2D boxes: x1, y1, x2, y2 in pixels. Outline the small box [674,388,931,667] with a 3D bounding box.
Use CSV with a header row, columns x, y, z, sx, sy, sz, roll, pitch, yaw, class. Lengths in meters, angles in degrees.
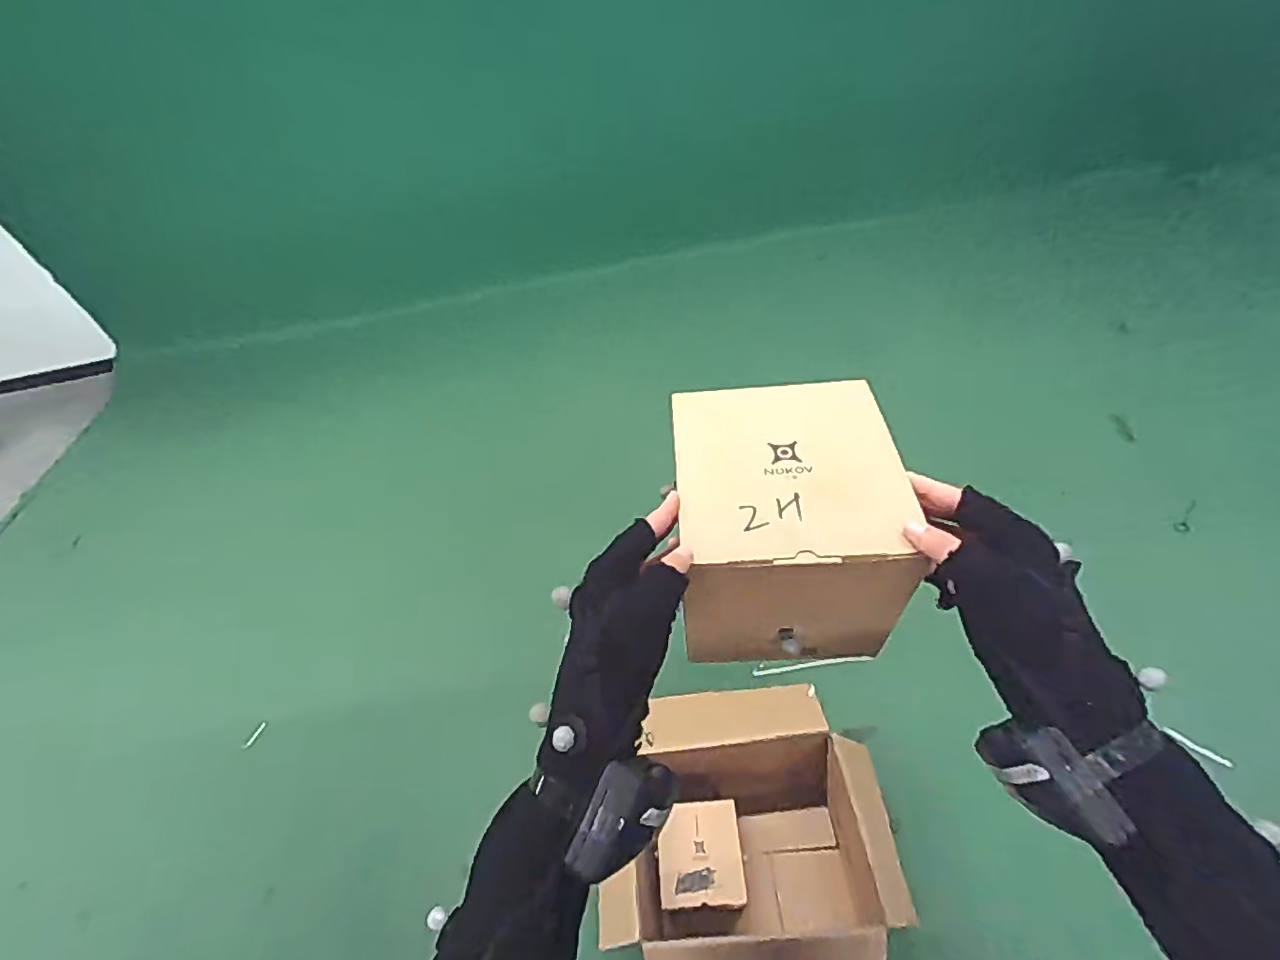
x,y,z,sx,sy,sz,roll,pitch,yaw,class
0.114,0.043,0.467,0.168,0.176,0.179,-4,49,4,small box
